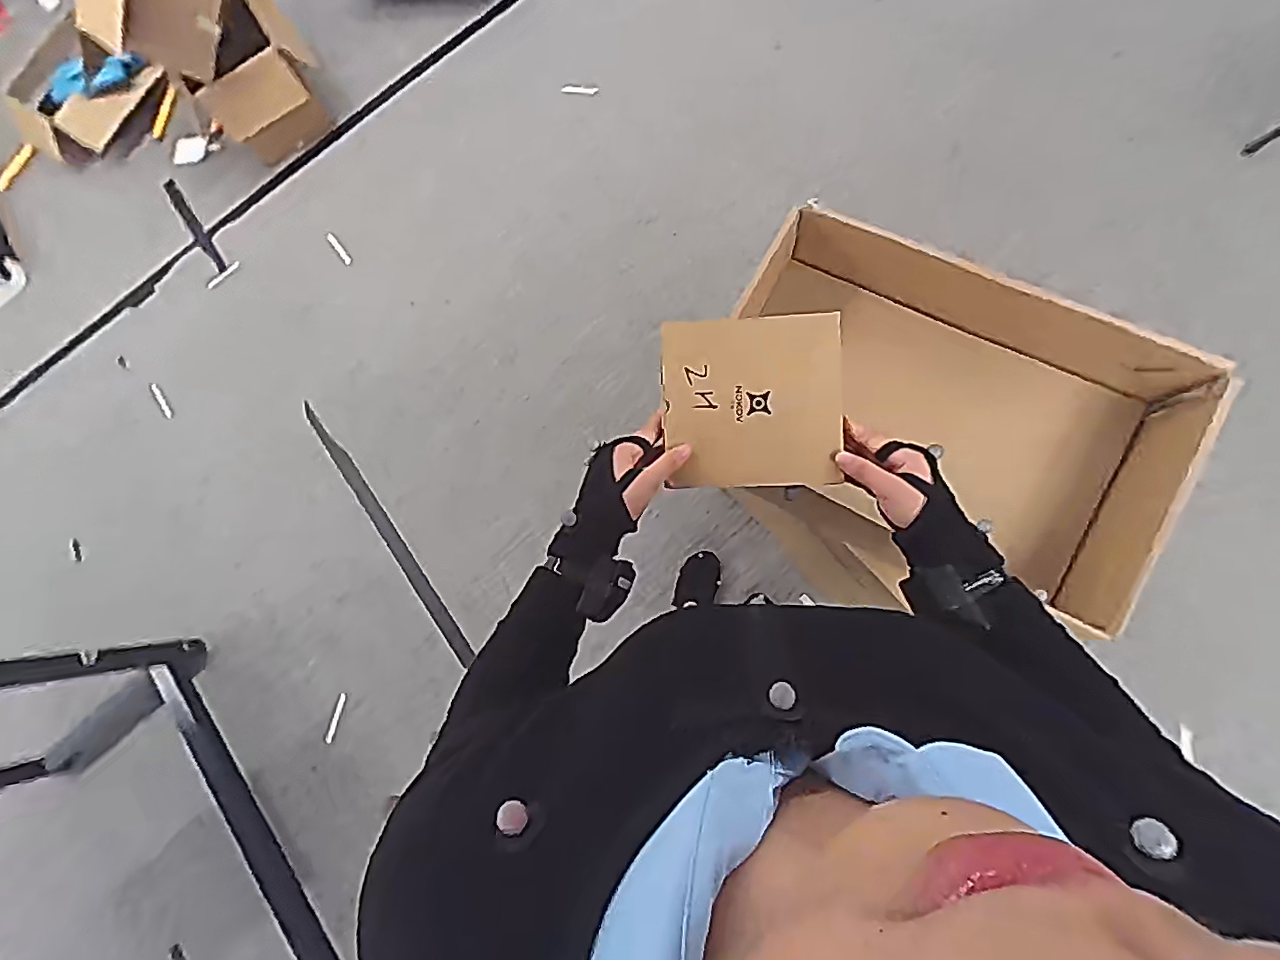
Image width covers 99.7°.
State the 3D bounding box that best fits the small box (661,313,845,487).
[{"bbox_3d":[0.120,-0.080,0.606,0.179,0.176,0.168,-2,91,9],"label":"small box"}]
